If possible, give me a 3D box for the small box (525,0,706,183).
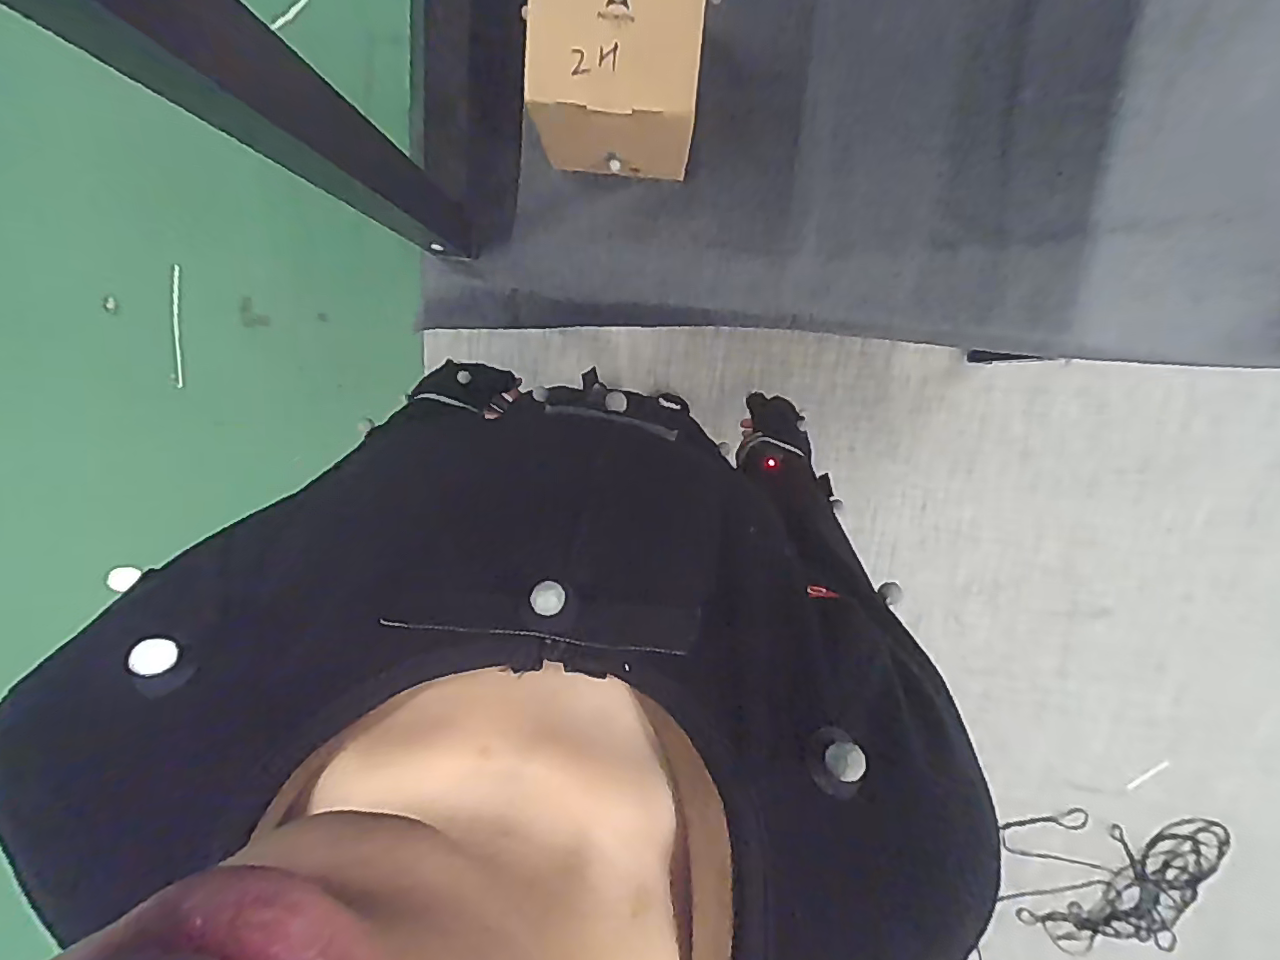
[{"bbox_3d":[-0.021,-0.451,0.584,0.168,0.176,0.179,5,100,0],"label":"small box"}]
